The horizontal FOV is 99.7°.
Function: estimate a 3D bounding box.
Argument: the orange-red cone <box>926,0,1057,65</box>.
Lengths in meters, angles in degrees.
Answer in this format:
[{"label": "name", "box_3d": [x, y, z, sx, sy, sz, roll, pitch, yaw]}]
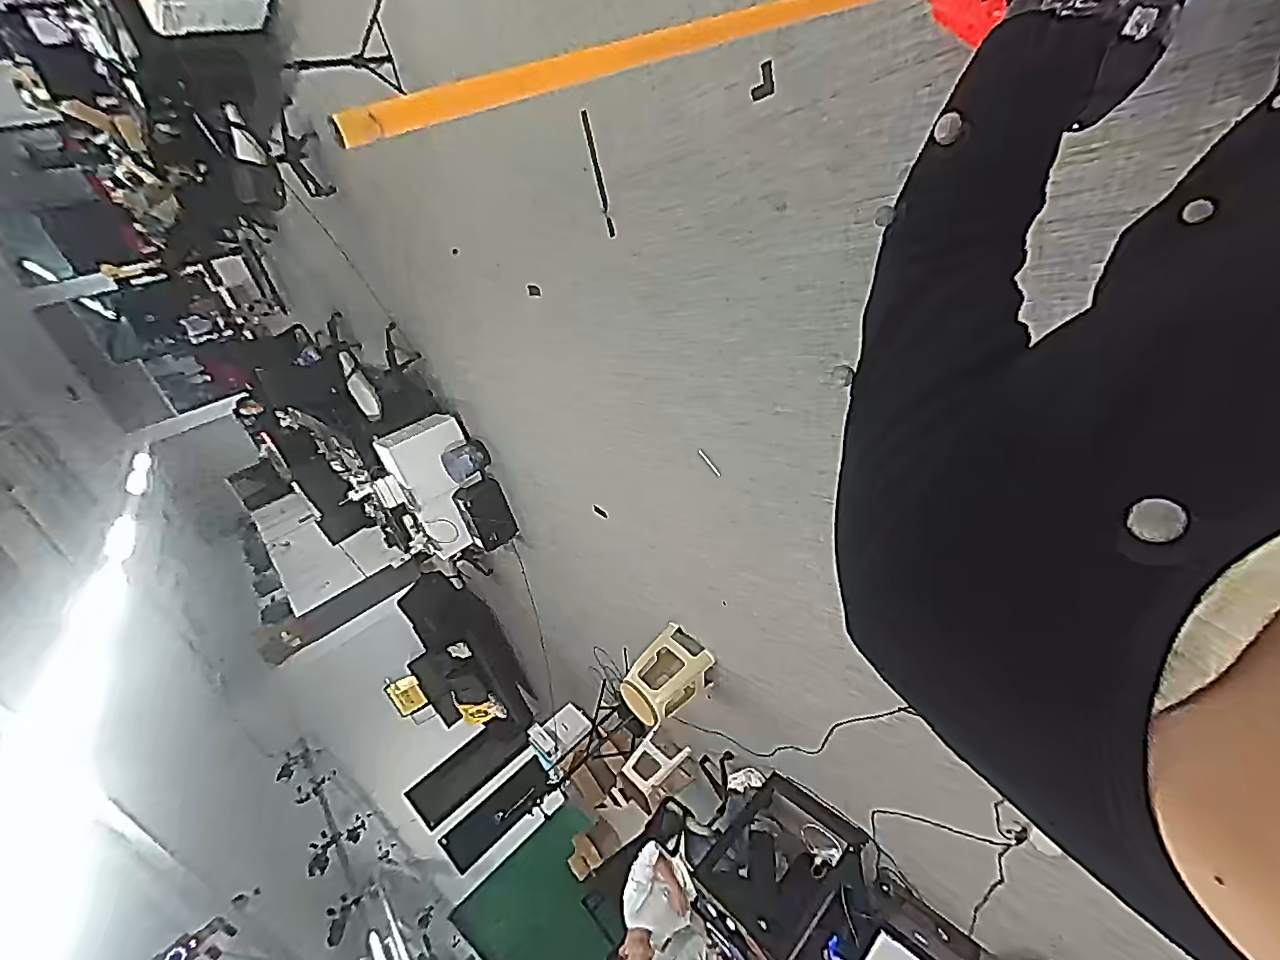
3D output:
[{"label": "orange-red cone", "box_3d": [0.518, -0.795, 0.849, 0.198, 0.360, 0.199, 49, 147, 11]}]
